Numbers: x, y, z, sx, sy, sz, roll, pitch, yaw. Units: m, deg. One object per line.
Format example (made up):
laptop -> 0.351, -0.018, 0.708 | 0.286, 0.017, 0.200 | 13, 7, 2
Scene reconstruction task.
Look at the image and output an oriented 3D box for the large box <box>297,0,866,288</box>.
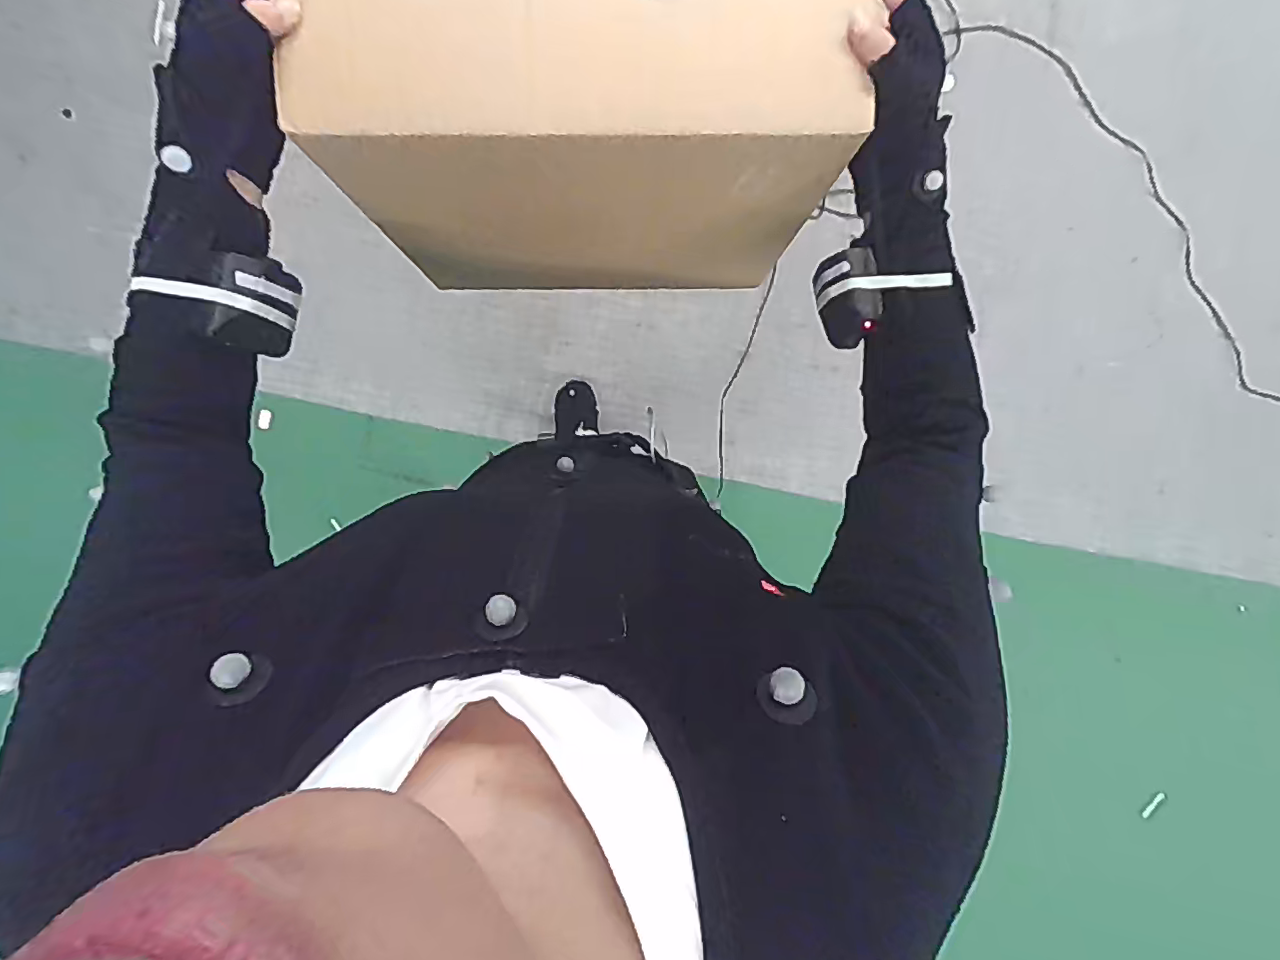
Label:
large box -> -0.049, -0.397, 0.530 | 0.408, 0.320, 0.320 | -2, 91, -3
